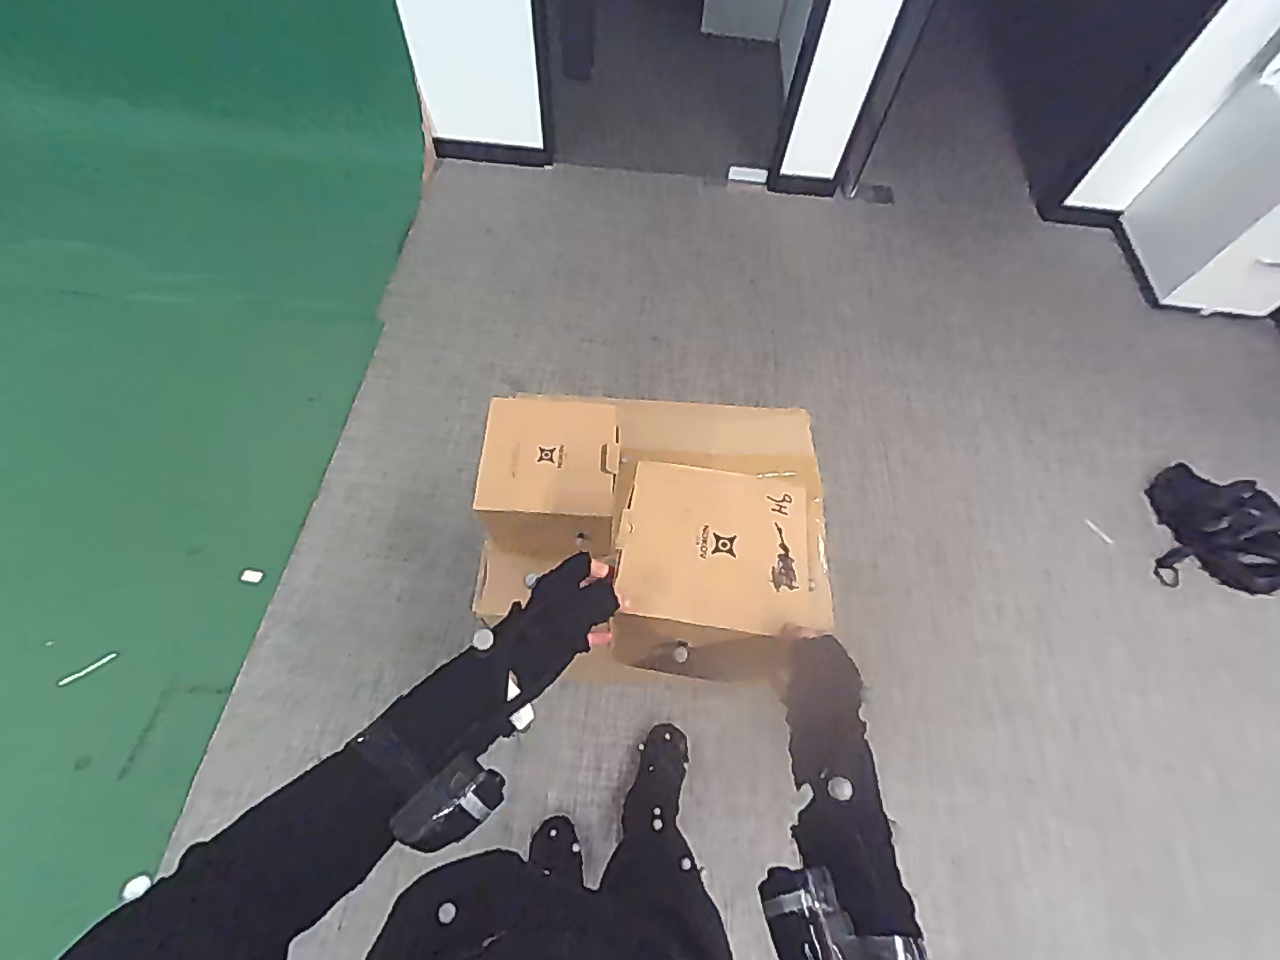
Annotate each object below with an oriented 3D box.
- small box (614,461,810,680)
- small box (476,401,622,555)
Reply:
[{"bbox_3d":[0.070,0.103,0.583,0.179,0.176,0.168,9,55,2],"label":"small box"},{"bbox_3d":[-0.118,0.005,0.778,0.179,0.176,0.168,3,64,-1],"label":"small box"}]
